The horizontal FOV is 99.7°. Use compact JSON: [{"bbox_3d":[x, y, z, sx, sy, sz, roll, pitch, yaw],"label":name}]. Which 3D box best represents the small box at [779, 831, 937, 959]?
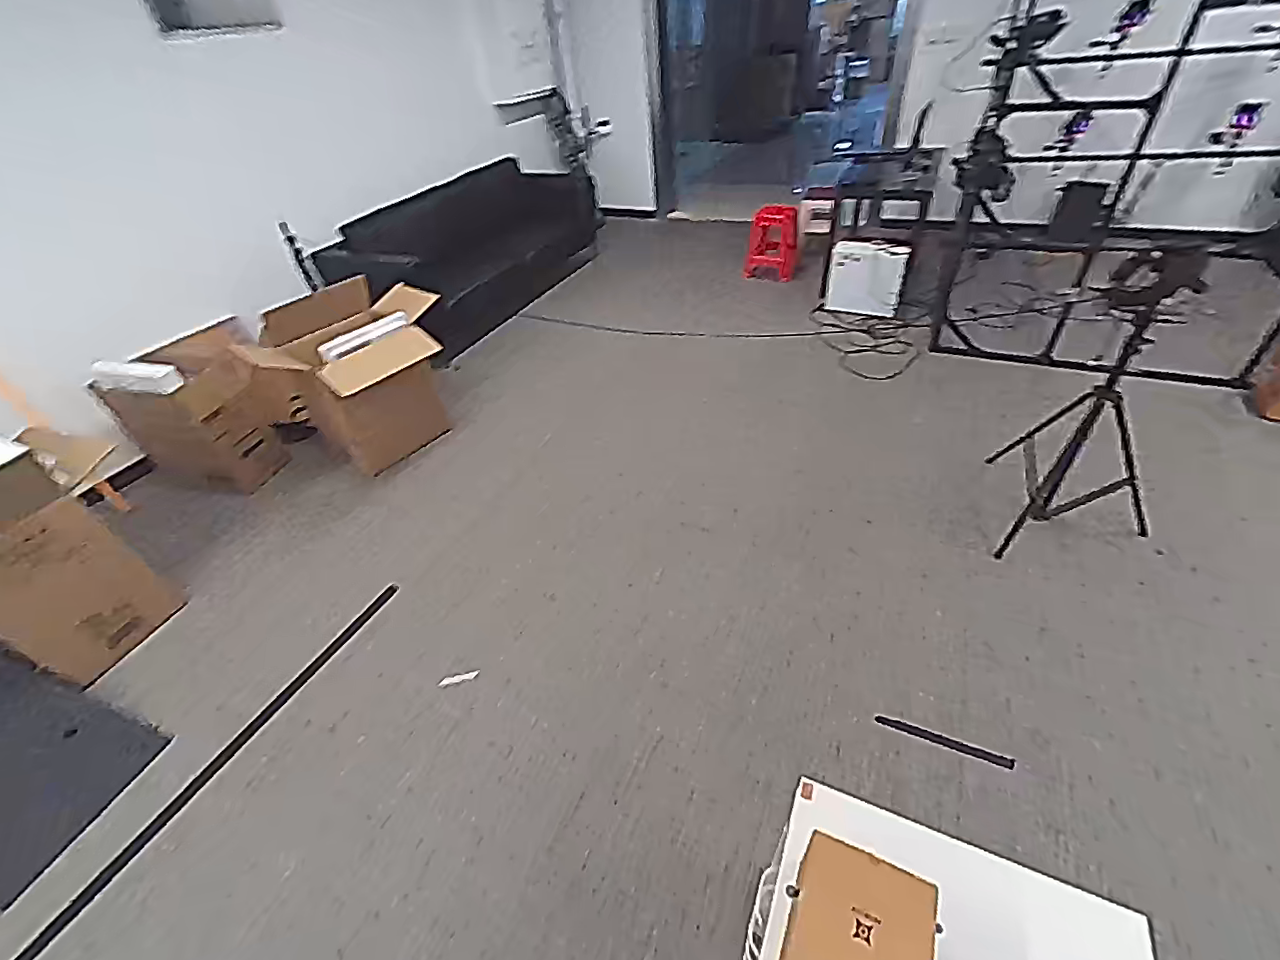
[{"bbox_3d":[0.294,0.640,0.748,0.168,0.176,0.179,14,44,22],"label":"small box"}]
